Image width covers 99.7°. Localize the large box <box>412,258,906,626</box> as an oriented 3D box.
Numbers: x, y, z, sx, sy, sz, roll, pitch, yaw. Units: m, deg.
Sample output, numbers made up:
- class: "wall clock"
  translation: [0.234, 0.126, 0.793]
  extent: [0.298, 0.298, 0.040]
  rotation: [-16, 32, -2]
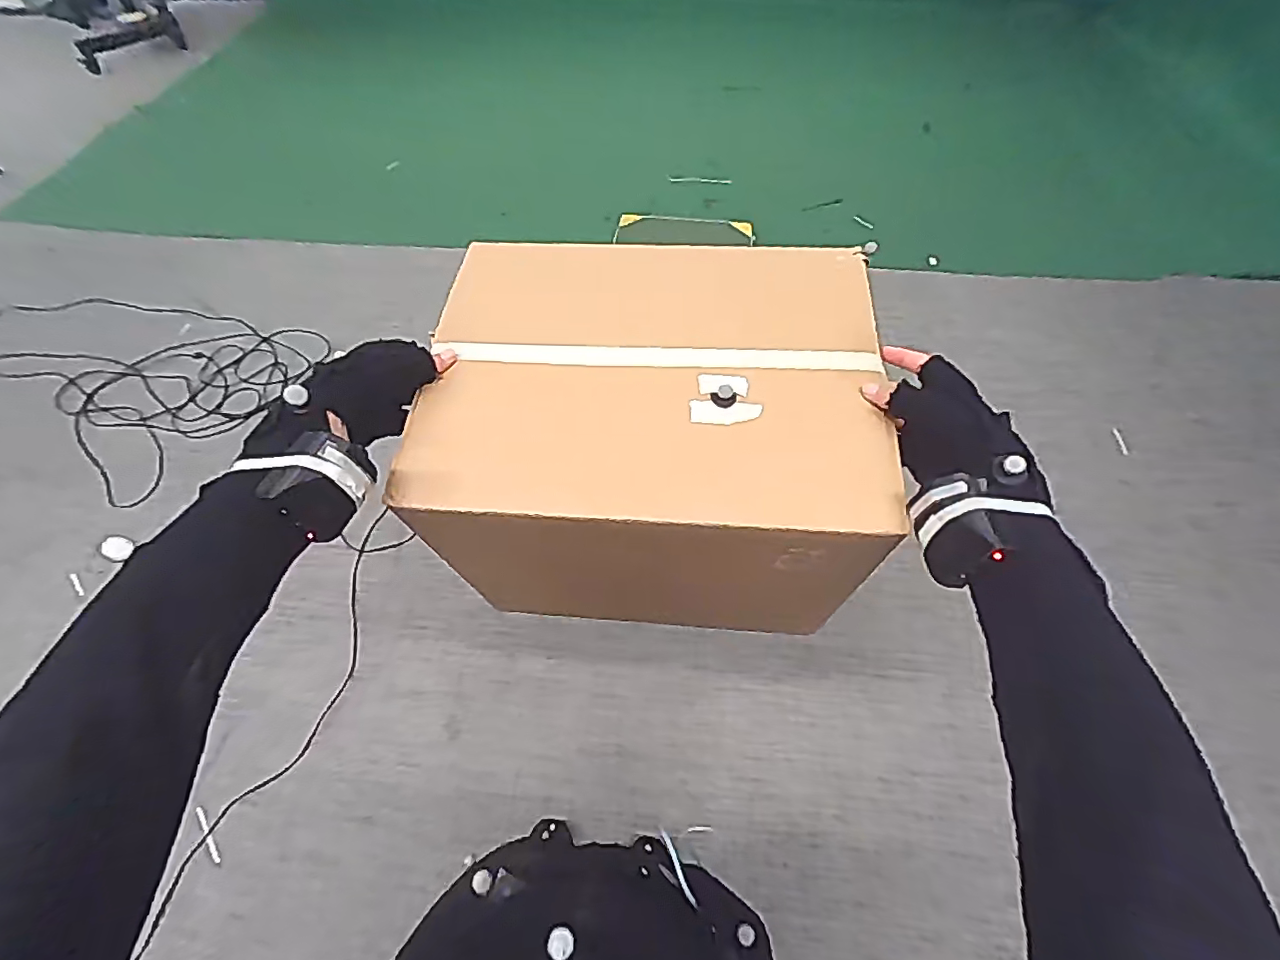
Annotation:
- class: "large box"
  translation: [0.023, -0.027, 0.629]
  extent: [0.408, 0.320, 0.320]
  rotation: [3, 62, 4]
